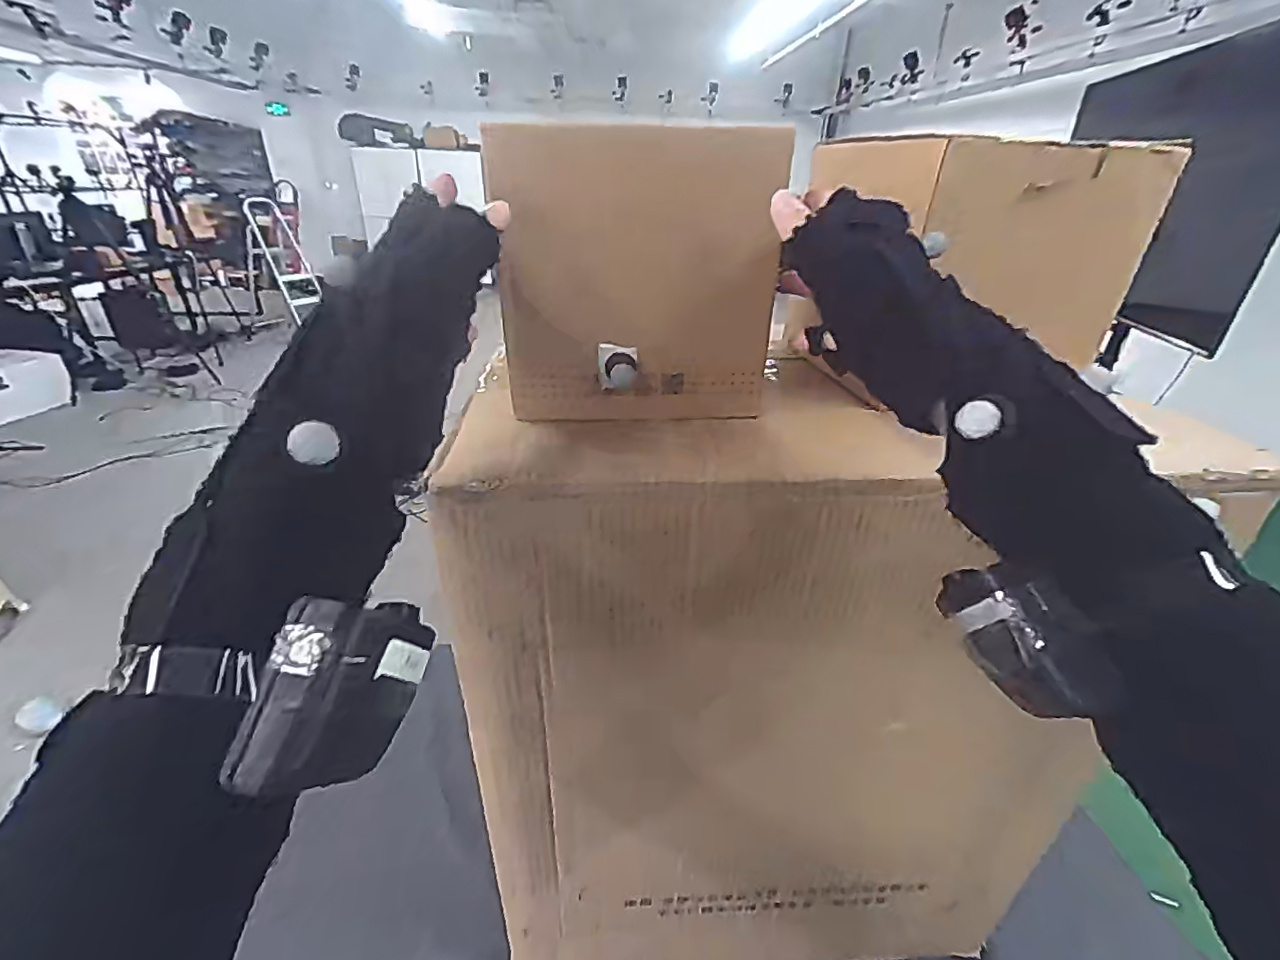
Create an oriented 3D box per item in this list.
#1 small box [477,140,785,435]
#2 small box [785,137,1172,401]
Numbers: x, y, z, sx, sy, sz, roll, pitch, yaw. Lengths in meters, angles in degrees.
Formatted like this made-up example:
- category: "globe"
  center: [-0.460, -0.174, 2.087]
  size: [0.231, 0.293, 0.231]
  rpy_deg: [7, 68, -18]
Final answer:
- category: "small box"
  center: [-0.009, -0.145, 0.393]
  size: [0.168, 0.176, 0.179]
  rpy_deg: [-4, 32, -4]
- category: "small box"
  center: [0.230, -0.165, 0.426]
  size: [0.168, 0.176, 0.179]
  rpy_deg: [-5, 29, -9]
